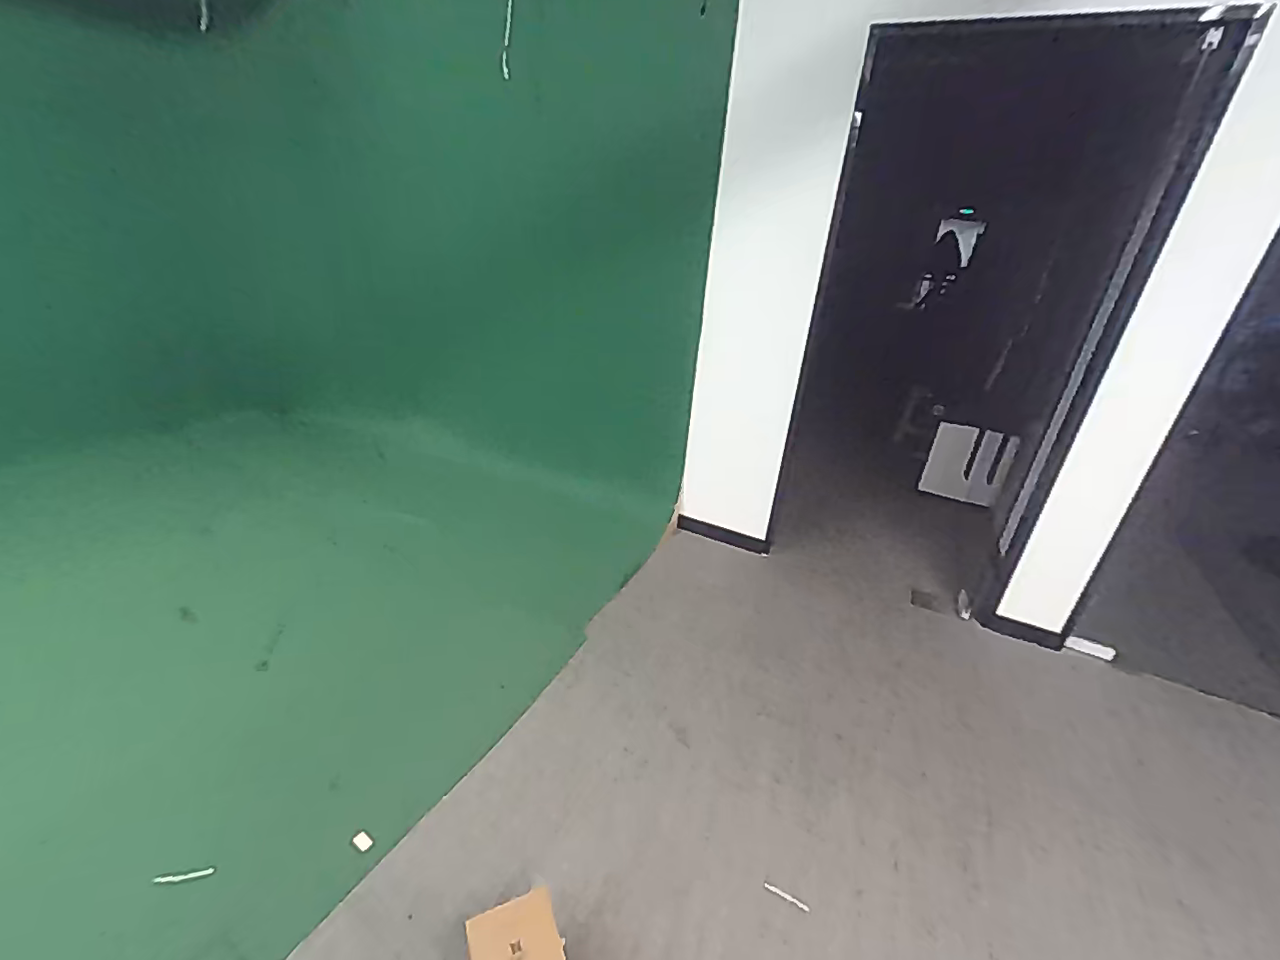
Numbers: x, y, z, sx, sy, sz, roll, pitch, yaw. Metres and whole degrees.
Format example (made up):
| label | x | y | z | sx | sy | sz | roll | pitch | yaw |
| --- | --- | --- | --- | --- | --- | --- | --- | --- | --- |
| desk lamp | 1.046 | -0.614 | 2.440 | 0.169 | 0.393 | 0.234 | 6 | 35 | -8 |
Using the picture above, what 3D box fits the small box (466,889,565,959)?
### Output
| label | x | y | z | sx | sy | sz | roll | pitch | yaw |
| --- | --- | --- | --- | --- | --- | --- | --- | --- | --- |
| small box | -0.238 | 0.966 | 1.056 | 0.168 | 0.176 | 0.179 | -7 | 27 | -25 |
